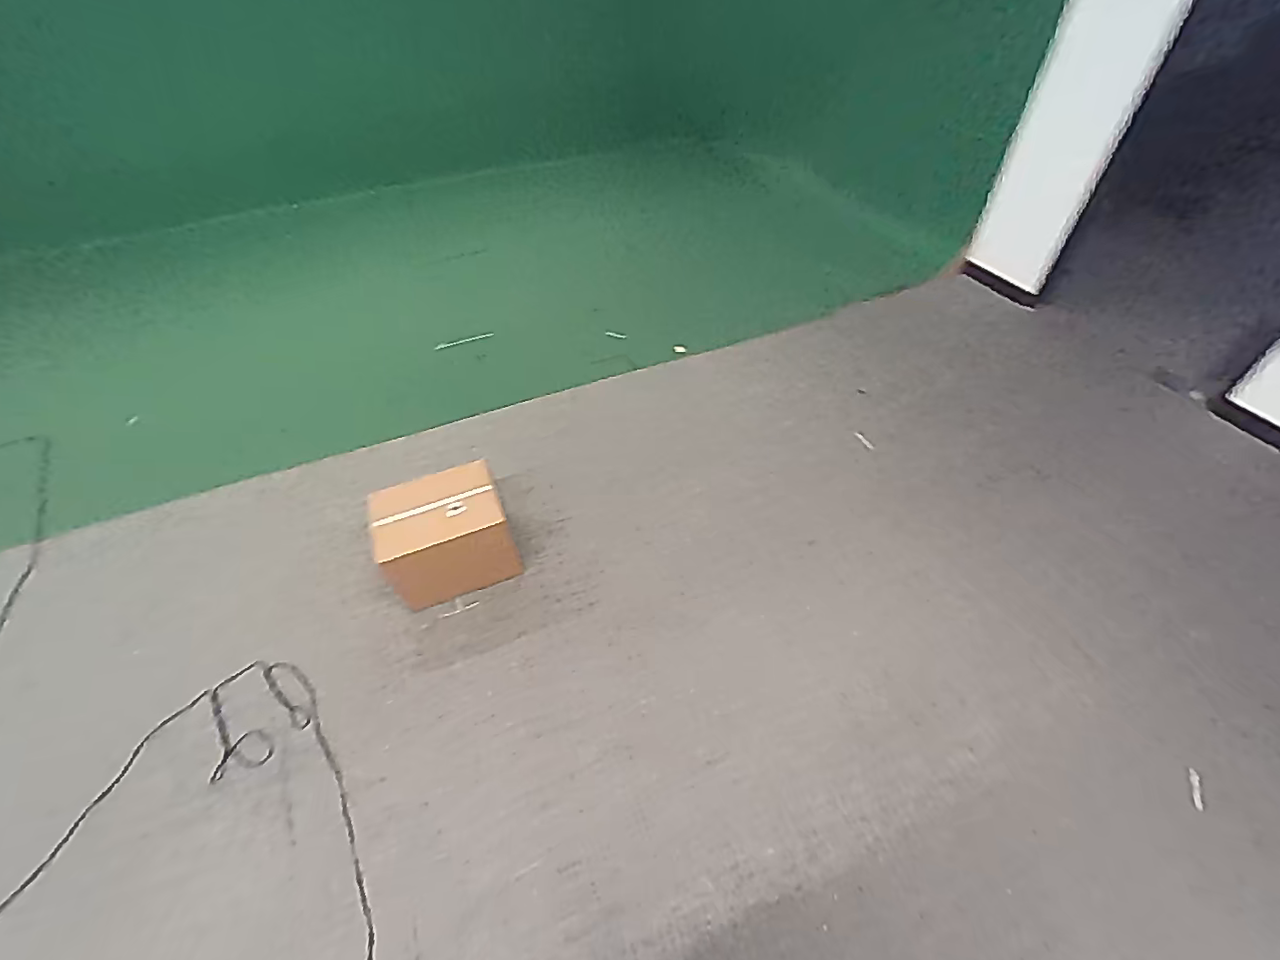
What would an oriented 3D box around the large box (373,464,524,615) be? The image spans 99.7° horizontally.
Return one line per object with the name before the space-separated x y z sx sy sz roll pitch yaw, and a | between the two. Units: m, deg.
large box | -0.664 0.207 1.898 0.408 0.320 0.320 -19 49 -14
